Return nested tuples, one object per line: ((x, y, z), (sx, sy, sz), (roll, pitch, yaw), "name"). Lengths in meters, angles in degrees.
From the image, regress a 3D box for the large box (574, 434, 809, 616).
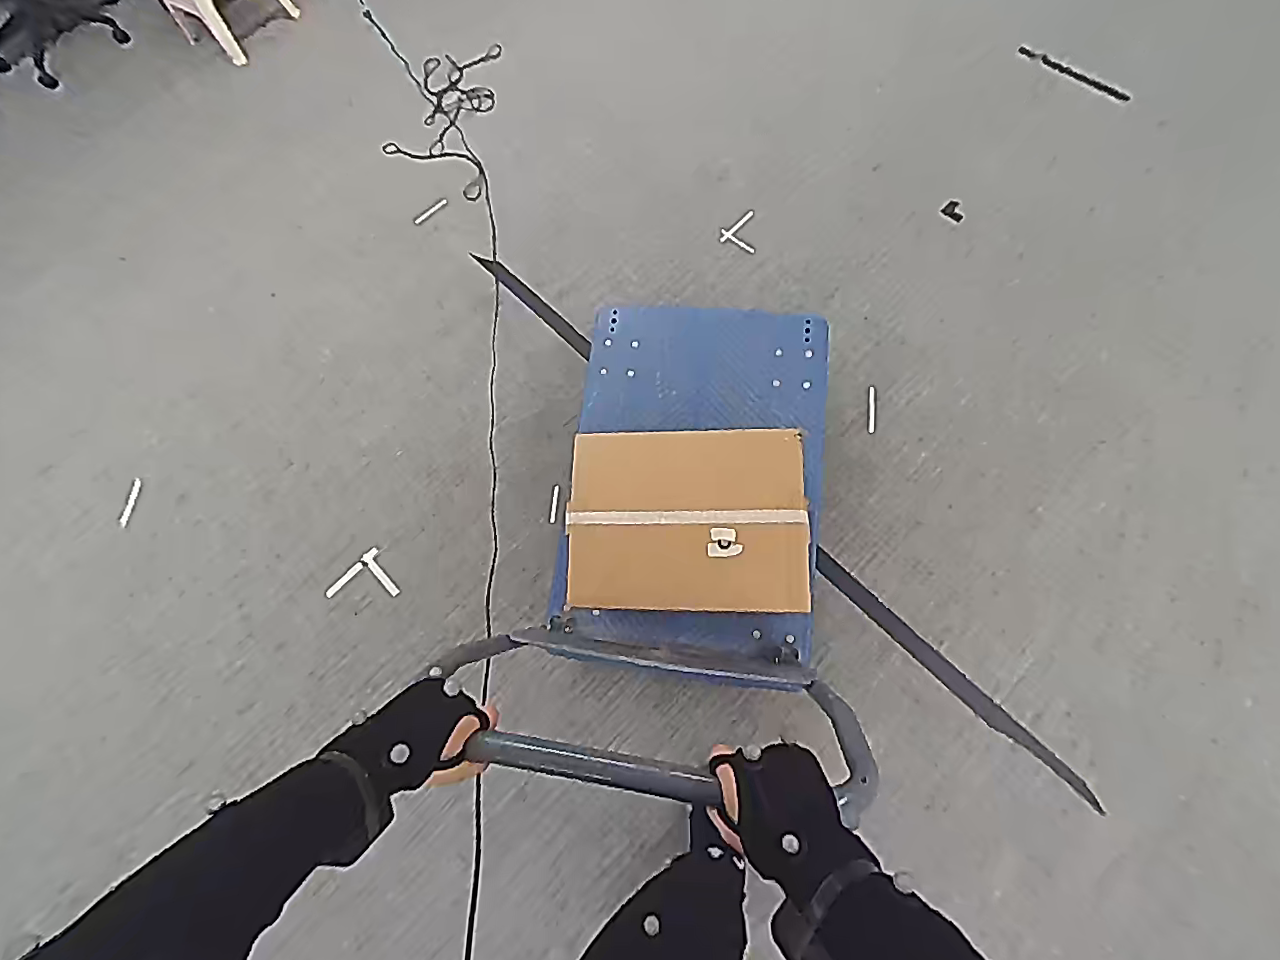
((0.097, 0.111, 1.090), (0.408, 0.320, 0.320), (-1, 76, 7), "large box")
